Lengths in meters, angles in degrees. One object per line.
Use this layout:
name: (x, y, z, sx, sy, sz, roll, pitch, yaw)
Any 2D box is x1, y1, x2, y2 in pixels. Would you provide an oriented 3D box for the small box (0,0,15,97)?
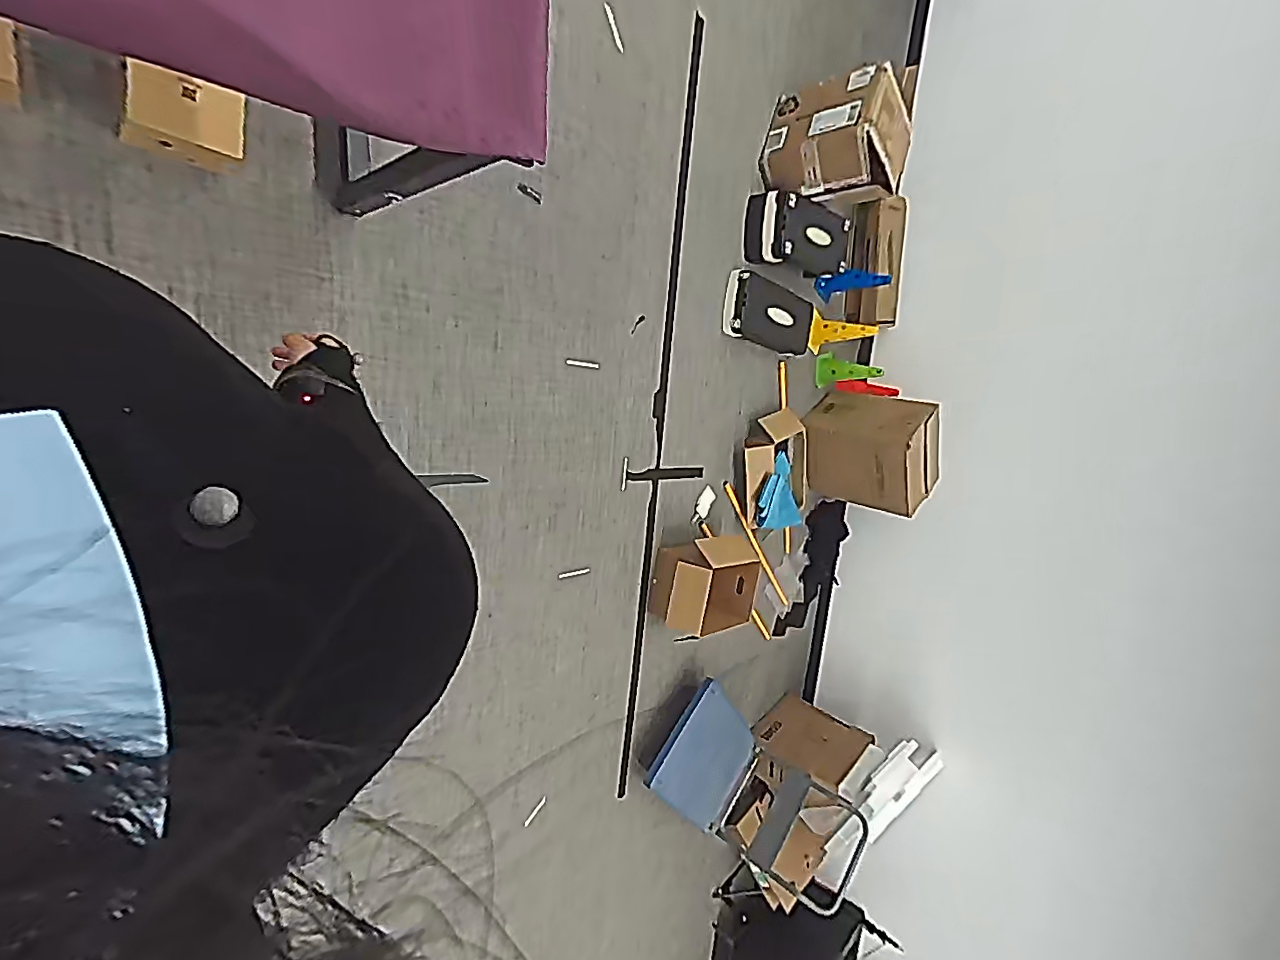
small box: (-1.070, -0.718, 0.809, 0.168, 0.176, 0.179, -4, 104, -47)

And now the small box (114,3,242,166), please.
small box: (-0.875, -0.726, 1.023, 0.168, 0.176, 0.179, 0, 100, -47)
